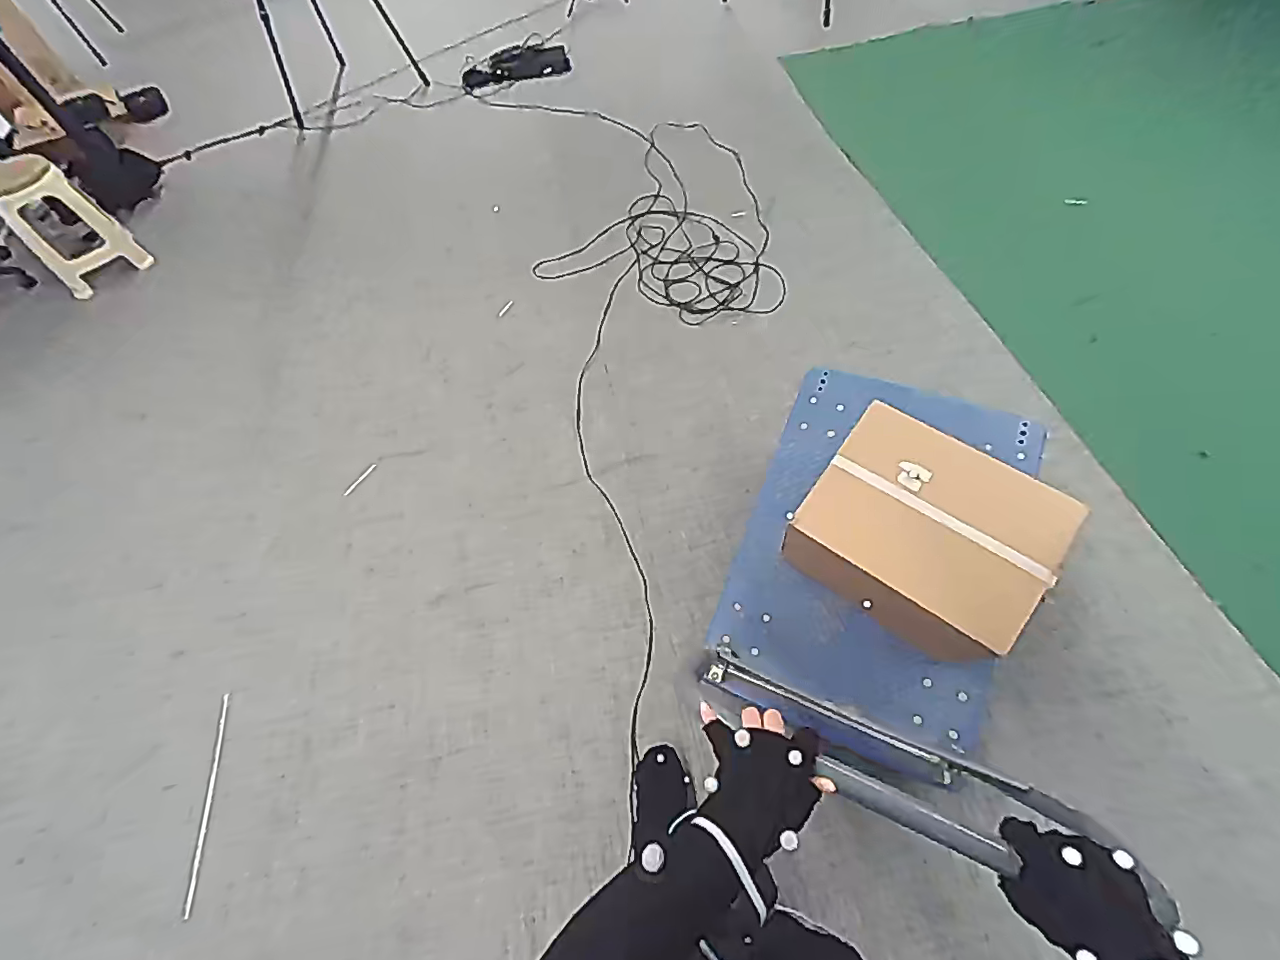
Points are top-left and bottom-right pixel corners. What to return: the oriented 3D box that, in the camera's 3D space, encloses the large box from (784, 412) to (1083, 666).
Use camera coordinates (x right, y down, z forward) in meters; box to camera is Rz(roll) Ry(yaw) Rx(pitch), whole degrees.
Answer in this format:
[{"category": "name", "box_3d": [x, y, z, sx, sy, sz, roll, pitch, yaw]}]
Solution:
[{"category": "large box", "box_3d": [0.555, 0.132, 1.113, 0.408, 0.320, 0.320, 34, 79, 22]}]
